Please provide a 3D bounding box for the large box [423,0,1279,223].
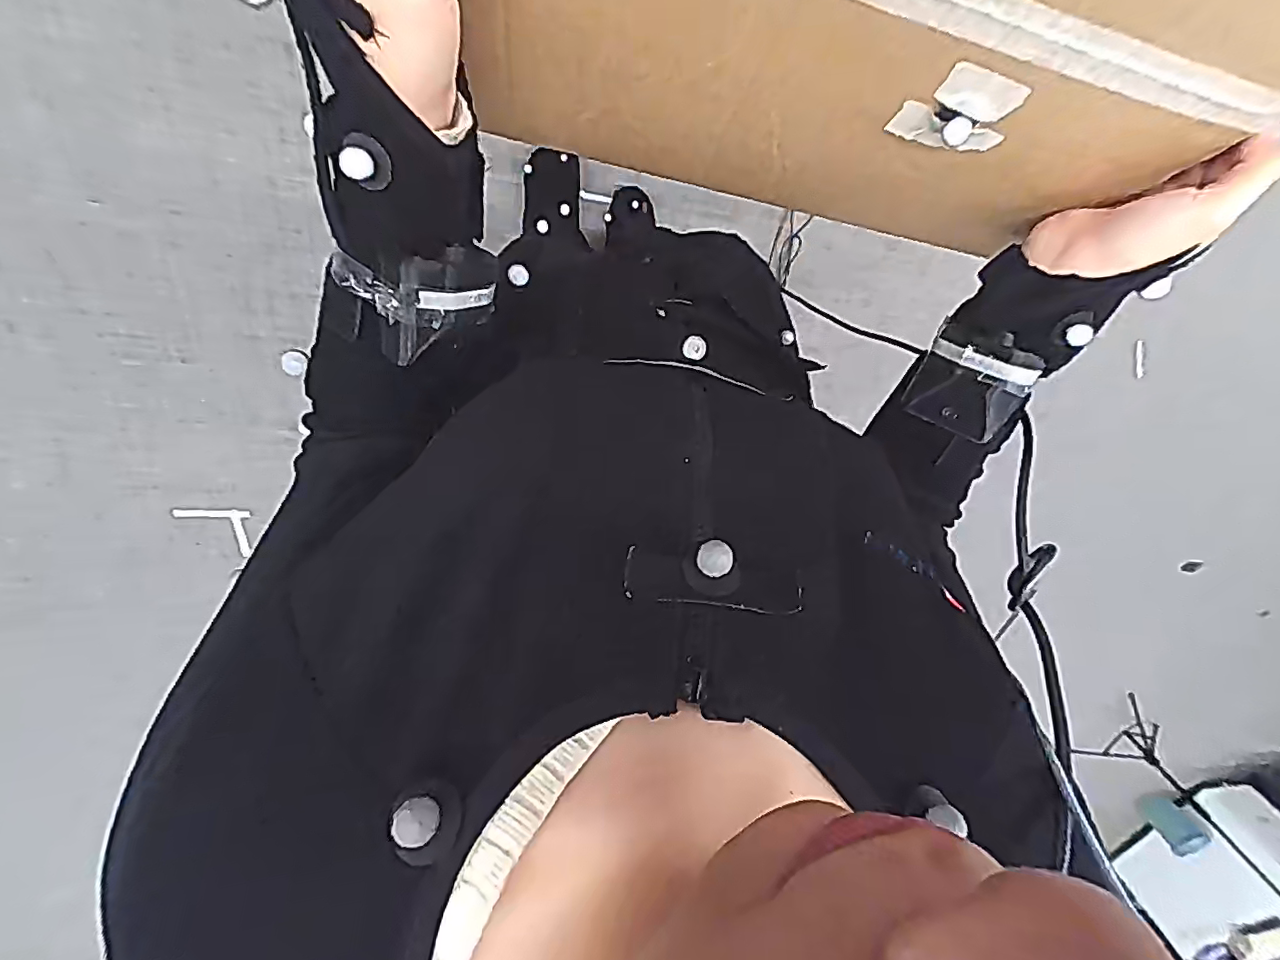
[{"bbox_3d":[0.125,-0.353,0.197,0.408,0.320,0.320,6,87,-12],"label":"large box"}]
